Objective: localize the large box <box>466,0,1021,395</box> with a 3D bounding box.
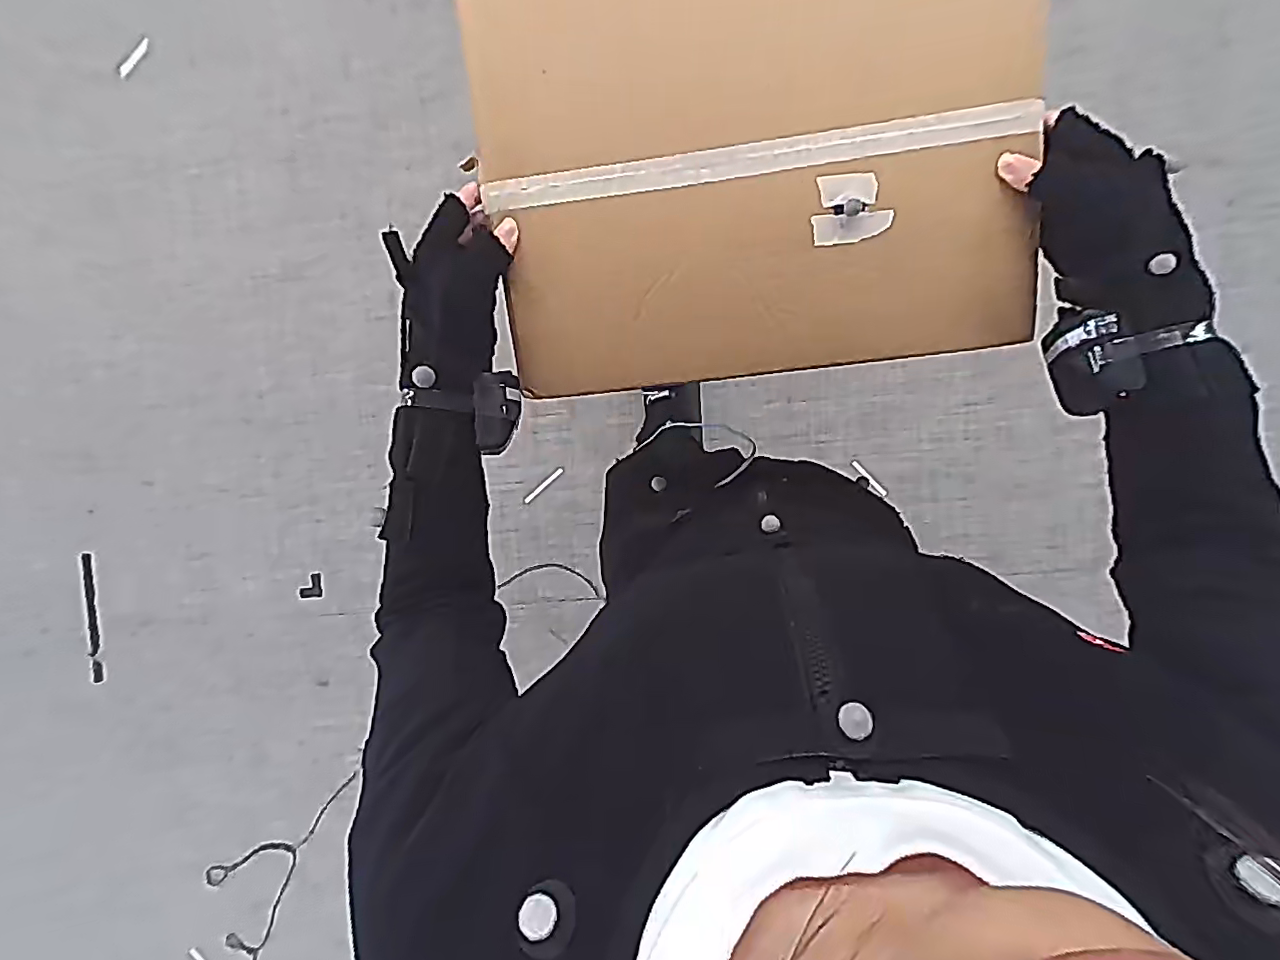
[{"bbox_3d":[0.089,-0.276,0.563,0.408,0.320,0.320,-6,103,4],"label":"large box"}]
